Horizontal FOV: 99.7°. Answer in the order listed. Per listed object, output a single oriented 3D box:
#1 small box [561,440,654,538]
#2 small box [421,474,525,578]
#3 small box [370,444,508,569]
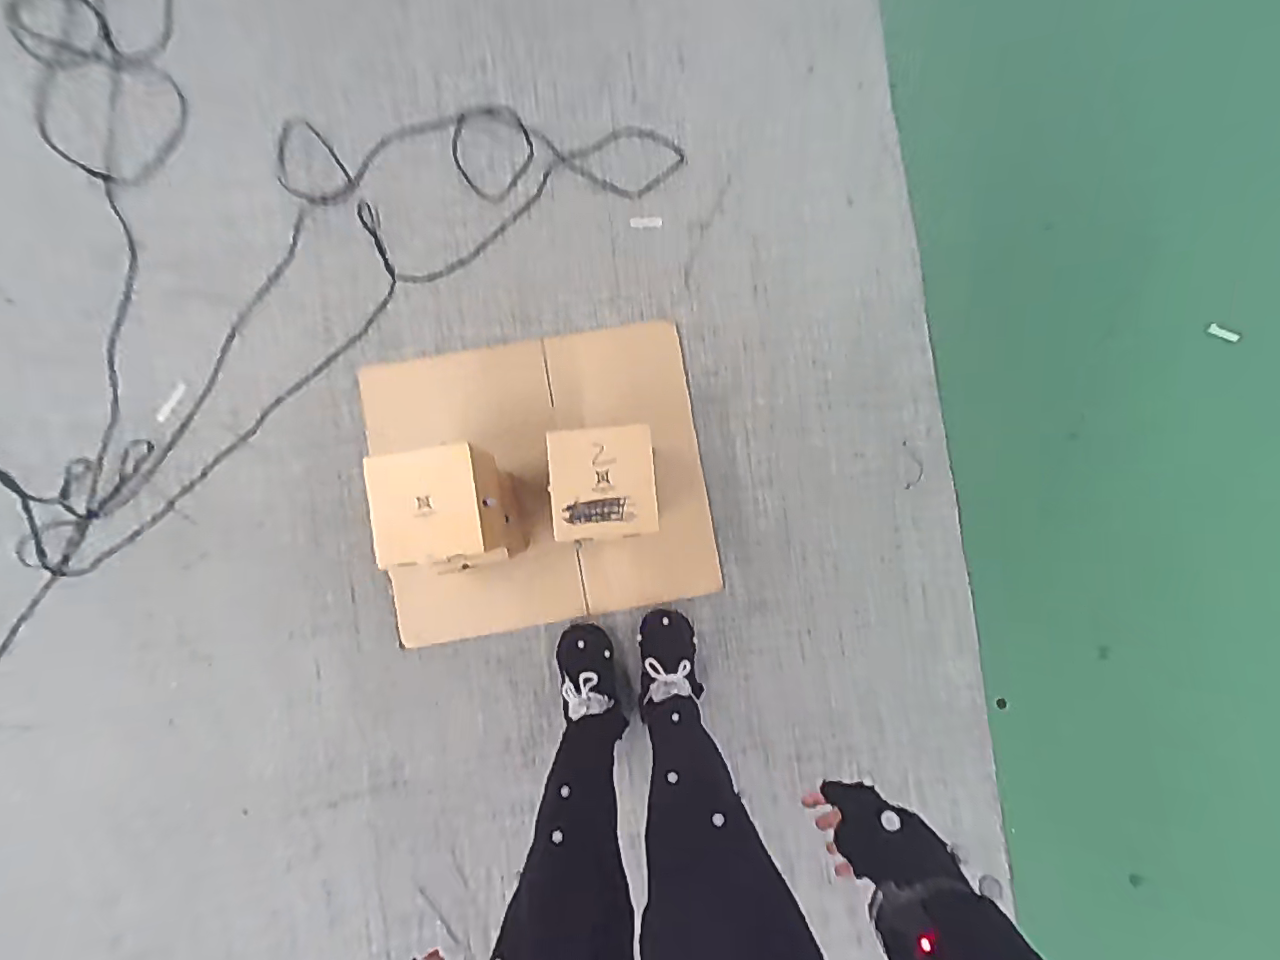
[{"bbox_3d":[-0.064,0.020,1.090,0.168,0.176,0.179,-5,88,-1],"label":"small box"},{"bbox_3d":[-0.335,0.083,1.075,0.168,0.176,0.179,-12,88,-2],"label":"small box"},{"bbox_3d":[-0.330,0.046,0.914,0.168,0.176,0.179,-9,87,-3],"label":"small box"}]
